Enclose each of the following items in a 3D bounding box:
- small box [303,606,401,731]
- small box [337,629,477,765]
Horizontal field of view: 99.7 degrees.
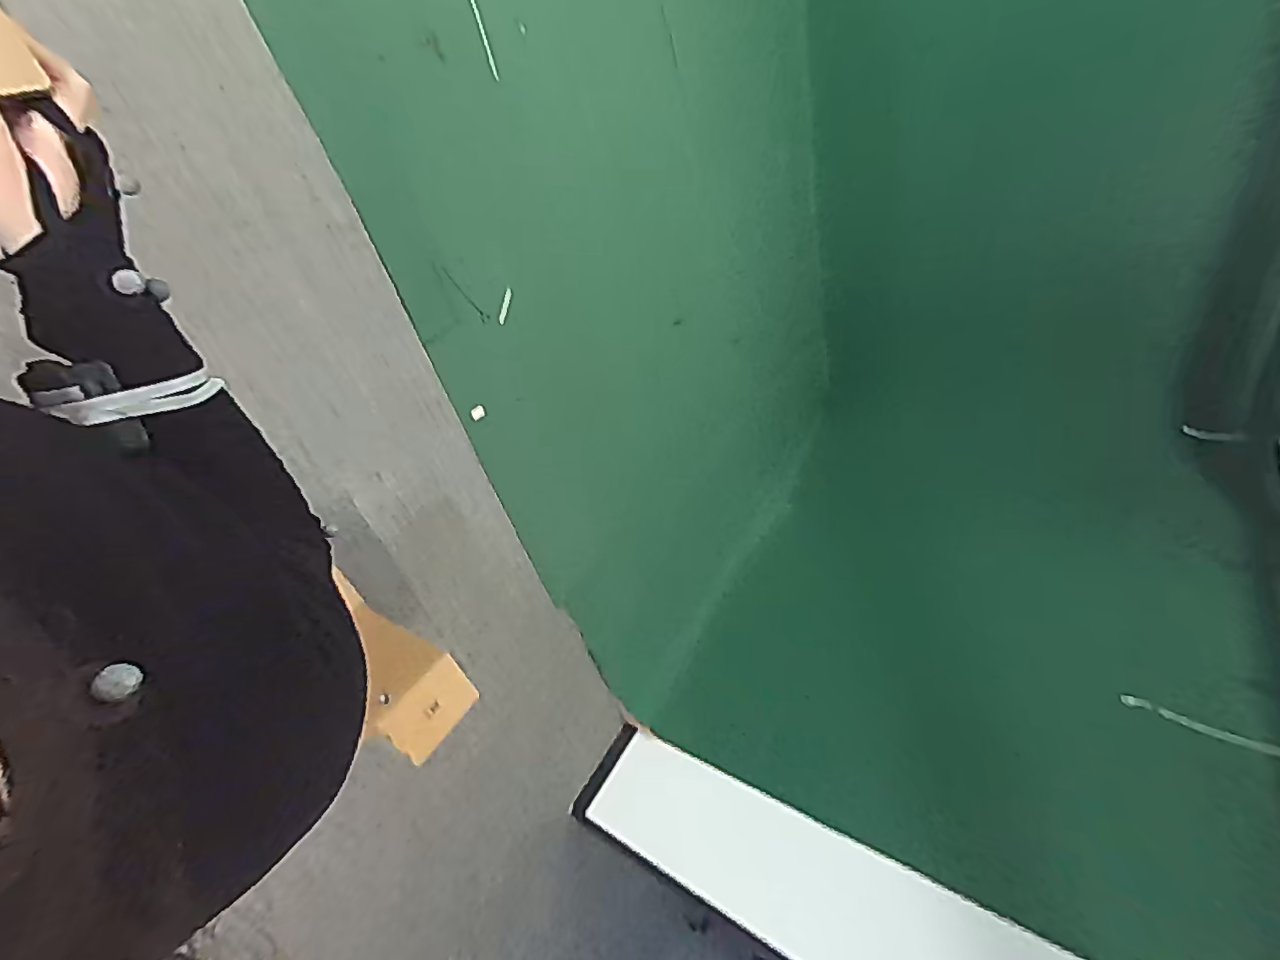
[{"bbox_3d":[-0.619,0.419,1.220,0.179,0.176,0.168,-49,137,-35],"label":"small box"},{"bbox_3d":[-0.484,0.445,1.132,0.179,0.176,0.168,-48,136,-35],"label":"small box"}]
